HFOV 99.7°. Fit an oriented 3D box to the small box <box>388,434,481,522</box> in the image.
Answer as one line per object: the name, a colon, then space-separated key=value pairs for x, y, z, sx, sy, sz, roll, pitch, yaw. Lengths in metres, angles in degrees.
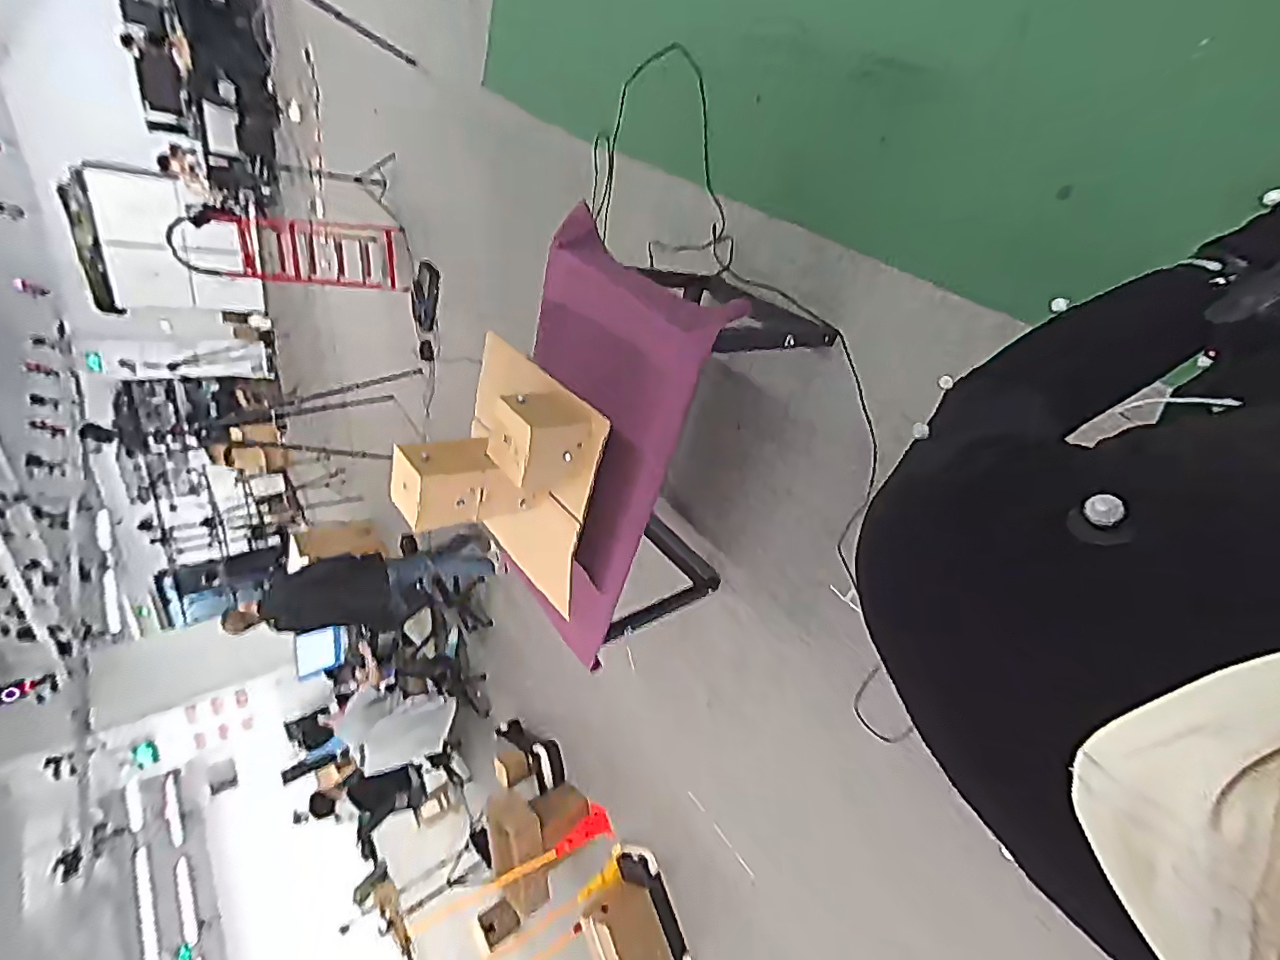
small box: x=-0.539 y=-0.013 z=1.421 sx=0.179 sy=0.176 sz=0.168 roll=39 pitch=124 yaw=34

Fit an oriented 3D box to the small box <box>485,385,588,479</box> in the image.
small box: x=-0.257 y=-0.123 z=1.333 sx=0.179 sy=0.176 sz=0.168 roll=41 pitch=127 yaw=34

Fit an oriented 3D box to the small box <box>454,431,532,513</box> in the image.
small box: x=-0.416 y=-0.033 z=1.525 sx=0.179 sy=0.176 sz=0.168 roll=40 pitch=125 yaw=35
